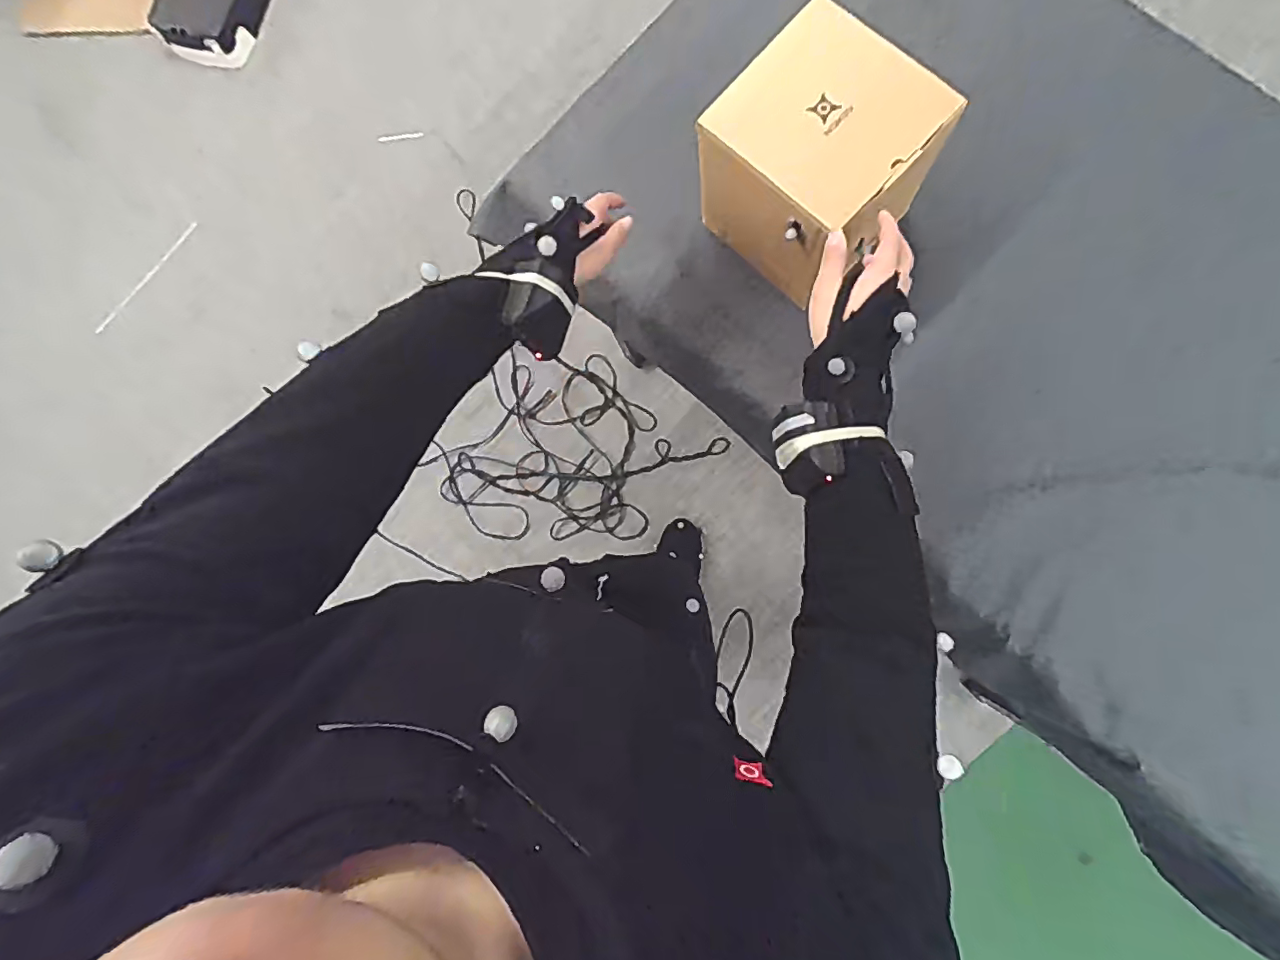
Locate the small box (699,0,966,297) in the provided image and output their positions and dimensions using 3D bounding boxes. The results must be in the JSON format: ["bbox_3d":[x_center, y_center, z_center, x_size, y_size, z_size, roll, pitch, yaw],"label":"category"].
[{"bbox_3d":[0.179,-0.327,0.564,0.179,0.176,0.168,44,91,9],"label":"small box"}]
